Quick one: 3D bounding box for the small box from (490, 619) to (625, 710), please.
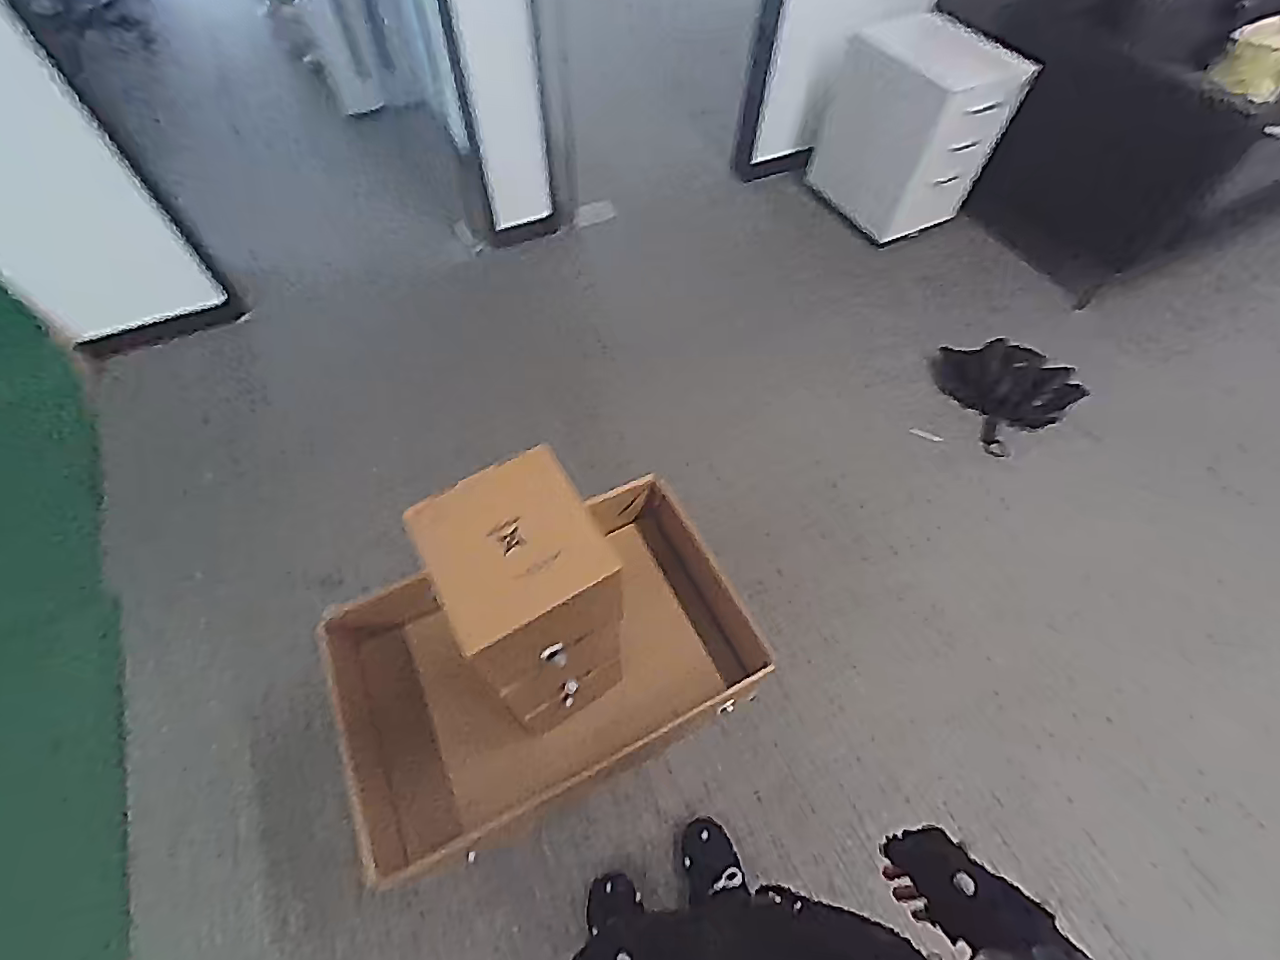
[{"bbox_3d":[-0.135,0.188,0.748,0.168,0.176,0.179,-28,63,-17],"label":"small box"}]

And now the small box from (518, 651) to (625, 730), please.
[{"bbox_3d":[-0.137,0.279,0.885,0.168,0.176,0.179,-29,62,-17],"label":"small box"}]

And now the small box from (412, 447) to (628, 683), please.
[{"bbox_3d":[-0.126,0.101,0.613,0.168,0.176,0.179,-28,63,-16],"label":"small box"}]
